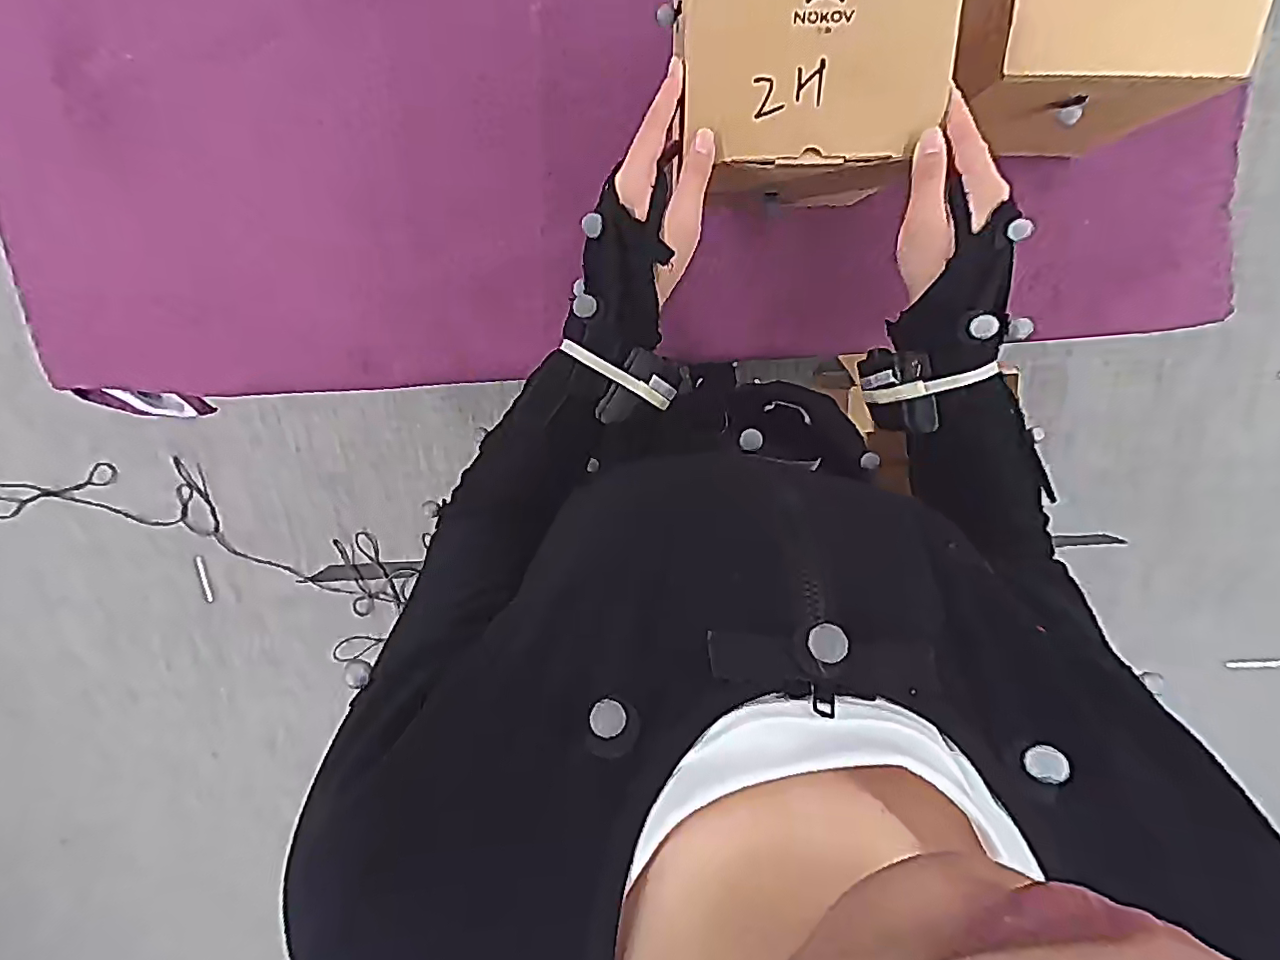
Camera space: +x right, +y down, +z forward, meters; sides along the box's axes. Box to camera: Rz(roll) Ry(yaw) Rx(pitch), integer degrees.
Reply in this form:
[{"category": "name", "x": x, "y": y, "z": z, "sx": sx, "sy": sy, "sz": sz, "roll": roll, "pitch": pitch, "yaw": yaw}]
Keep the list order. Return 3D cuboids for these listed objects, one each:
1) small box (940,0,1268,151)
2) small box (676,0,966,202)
[{"category": "small box", "x": 0.350, "y": -0.388, "z": 0.442, "sx": 0.179, "sy": 0.176, "sz": 0.168, "roll": 2, "pitch": 105, "yaw": 2}, {"category": "small box", "x": 0.113, "y": -0.317, "z": 0.397, "sx": 0.168, "sy": 0.176, "sz": 0.179, "roll": 0, "pitch": 108, "yaw": 2}]
